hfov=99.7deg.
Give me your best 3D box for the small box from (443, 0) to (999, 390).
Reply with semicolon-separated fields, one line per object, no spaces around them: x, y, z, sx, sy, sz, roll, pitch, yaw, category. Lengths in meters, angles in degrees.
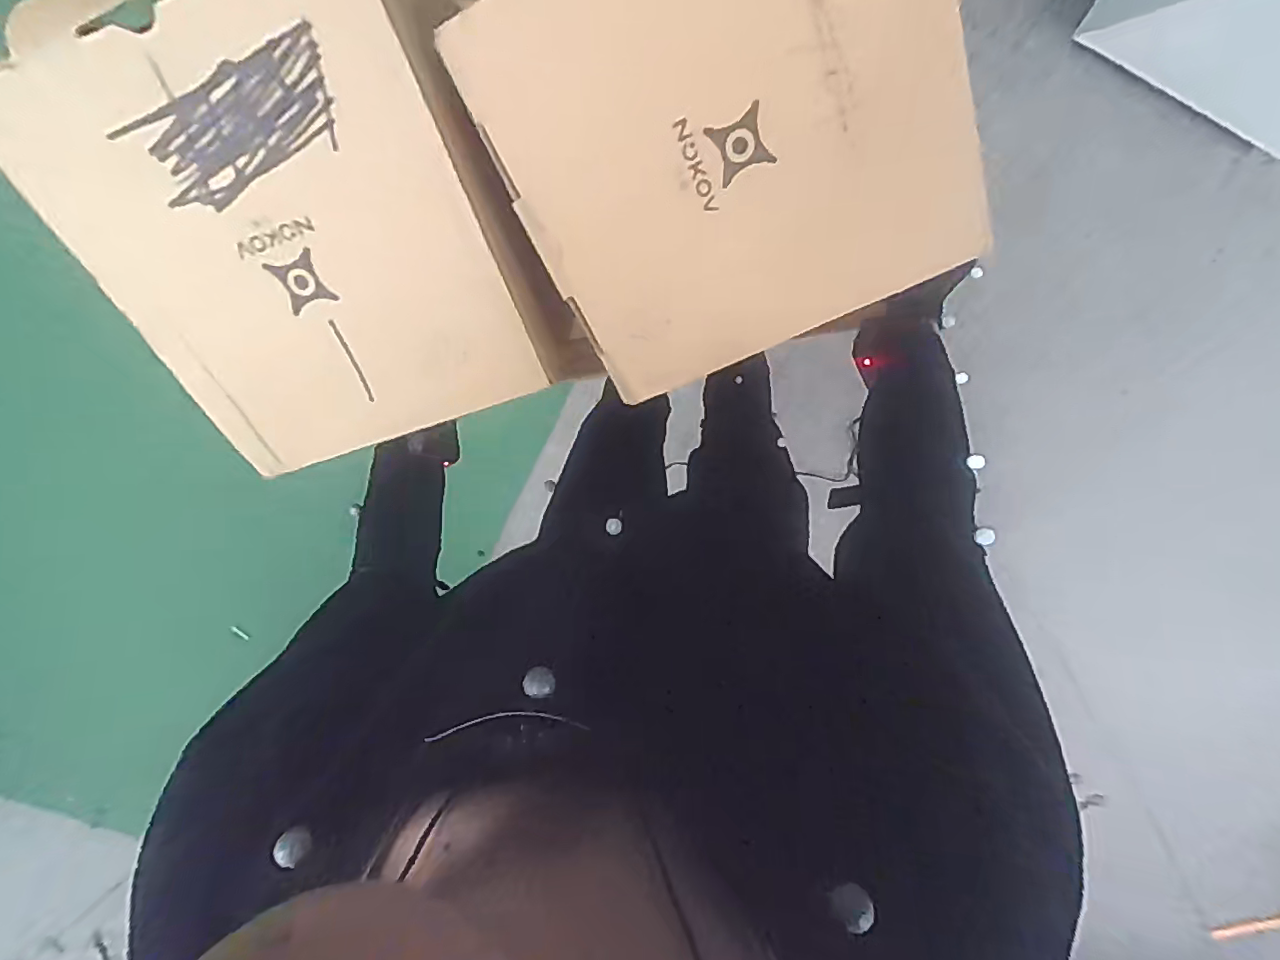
0.042;-0.175;0.278;0.179;0.176;0.168;-20;119;14;small box
